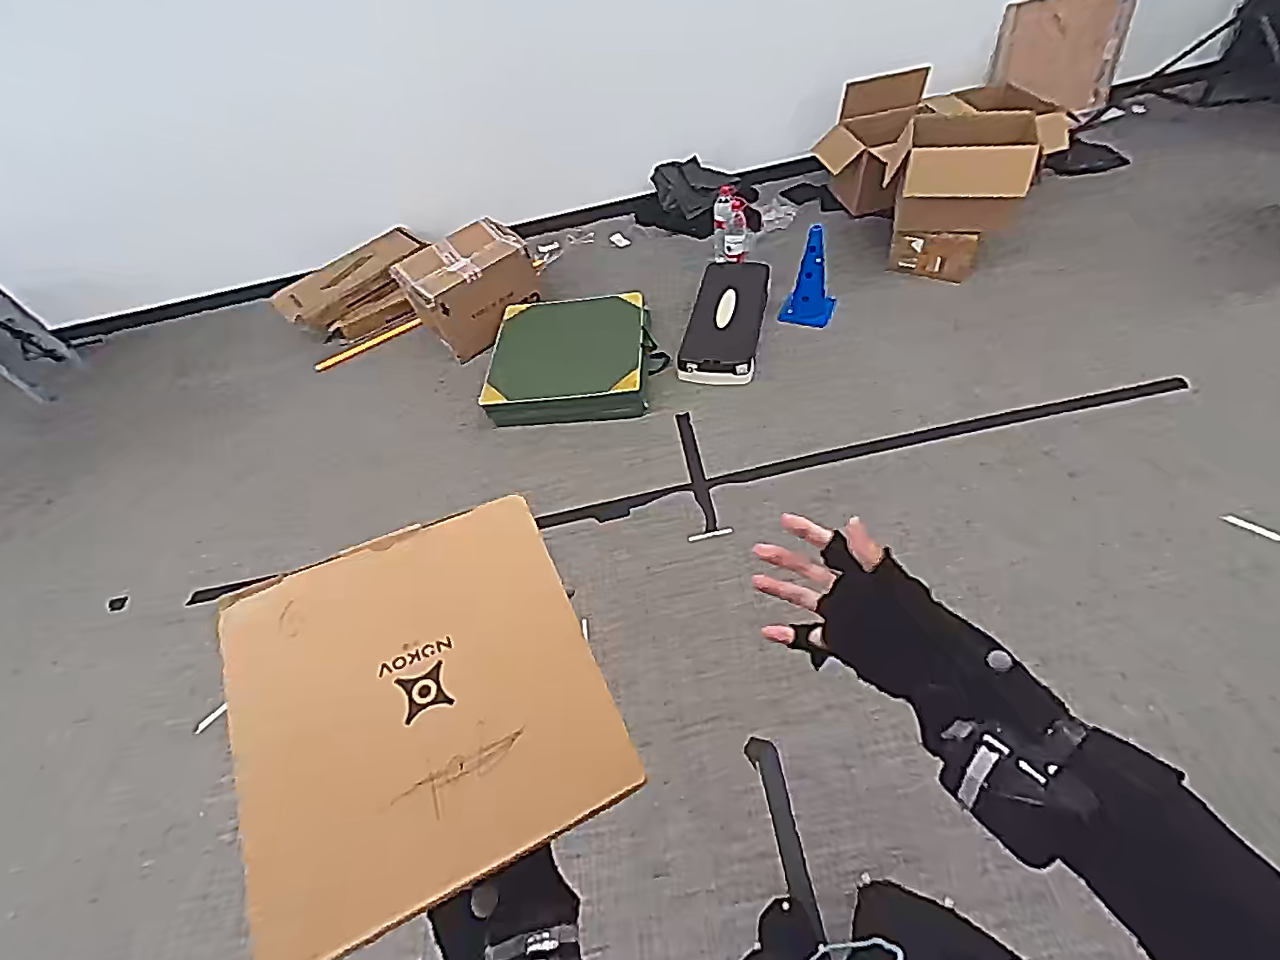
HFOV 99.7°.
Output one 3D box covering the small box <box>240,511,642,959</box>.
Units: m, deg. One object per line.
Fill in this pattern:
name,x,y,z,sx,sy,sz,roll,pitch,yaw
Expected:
small box,-0.116,0.154,0.345,0.168,0.176,0.179,-20,61,-18
